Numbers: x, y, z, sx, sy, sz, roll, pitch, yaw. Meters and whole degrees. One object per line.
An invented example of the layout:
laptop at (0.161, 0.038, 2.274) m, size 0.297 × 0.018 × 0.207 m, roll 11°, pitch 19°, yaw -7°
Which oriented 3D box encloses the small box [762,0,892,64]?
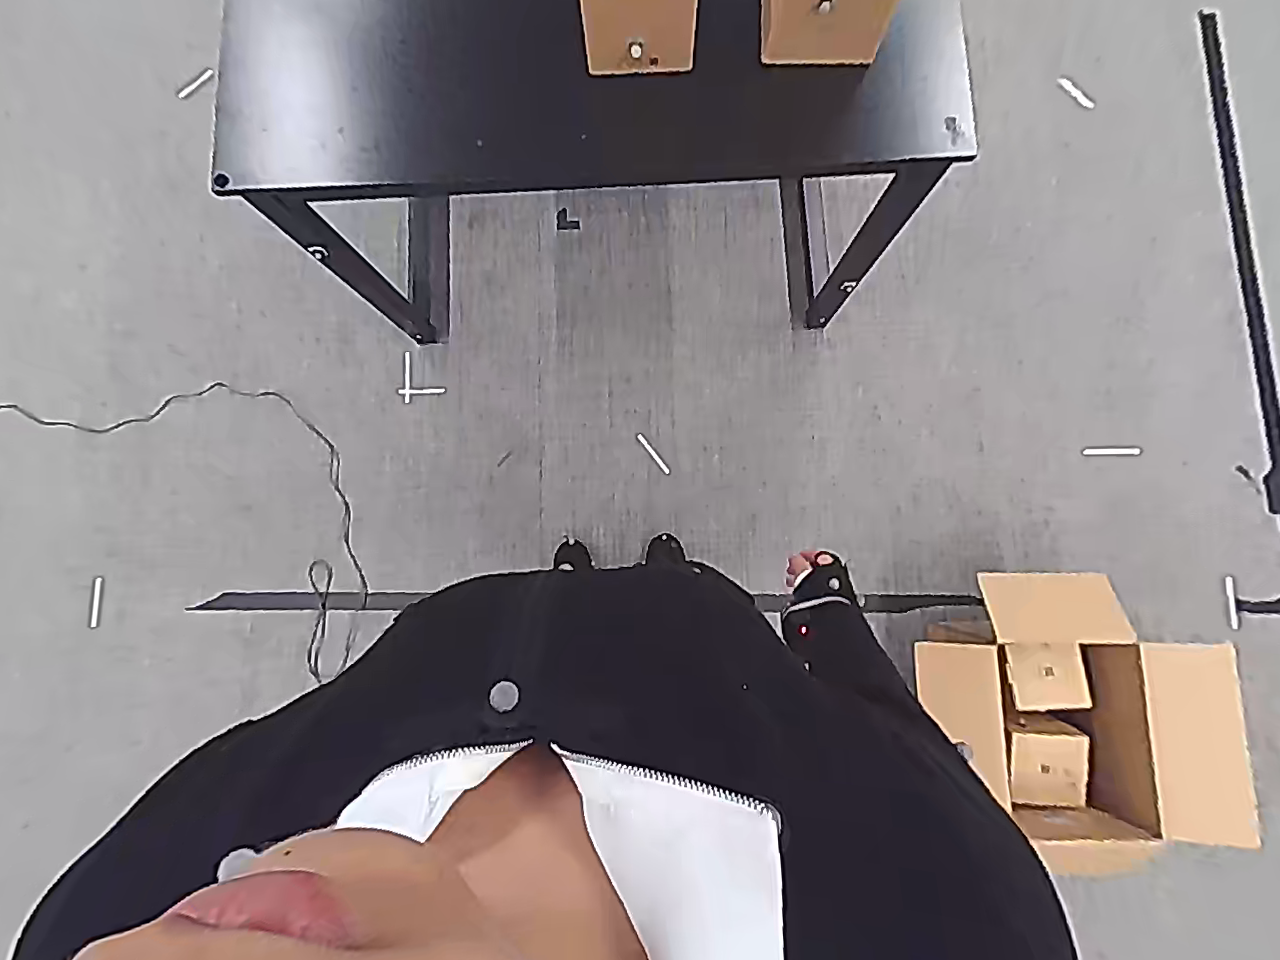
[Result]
small box at (0.277, -0.749, 0.788) m, size 0.179 × 0.176 × 0.168 m, roll 1°, pitch 83°, yaw 3°

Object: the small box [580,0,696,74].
small box at (-0.004, -0.746, 0.795) m, size 0.168 × 0.176 × 0.179 m, roll -1°, pitch 84°, yaw 2°
